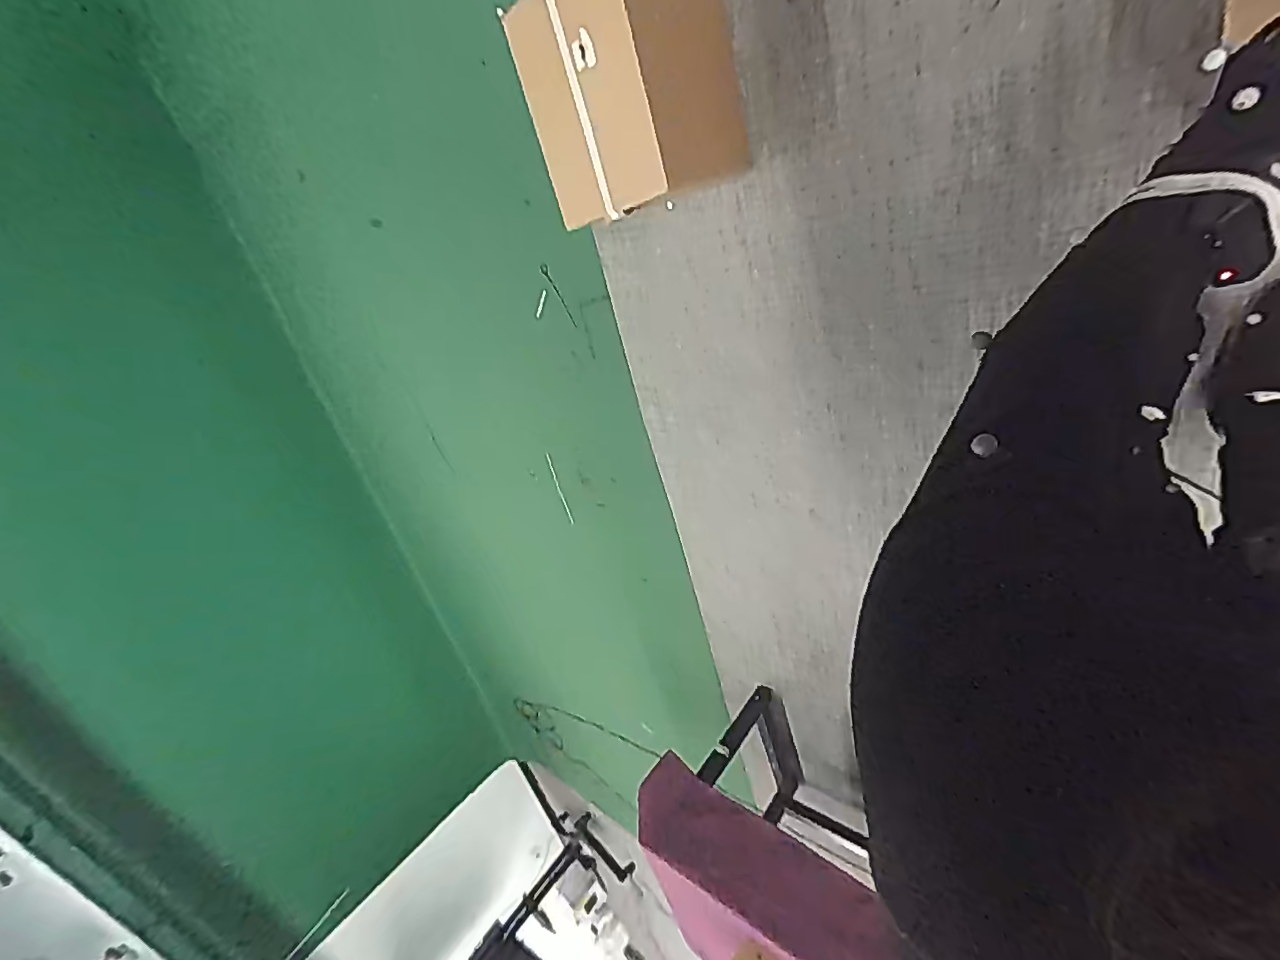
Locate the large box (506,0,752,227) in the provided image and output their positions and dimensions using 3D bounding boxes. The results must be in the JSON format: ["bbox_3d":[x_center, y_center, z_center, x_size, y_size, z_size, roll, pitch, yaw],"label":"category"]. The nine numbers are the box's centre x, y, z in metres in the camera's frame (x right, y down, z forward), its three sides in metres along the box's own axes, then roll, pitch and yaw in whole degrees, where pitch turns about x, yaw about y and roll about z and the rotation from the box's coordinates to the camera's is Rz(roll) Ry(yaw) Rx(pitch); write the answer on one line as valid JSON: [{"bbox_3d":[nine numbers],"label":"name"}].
[{"bbox_3d":[-0.008,-0.800,1.127,0.320,0.320,0.408,7,123,44],"label":"large box"}]

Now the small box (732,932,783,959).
[{"bbox_3d":[0.323,1.355,1.419,0.168,0.176,0.179,6,123,44],"label":"small box"}]
